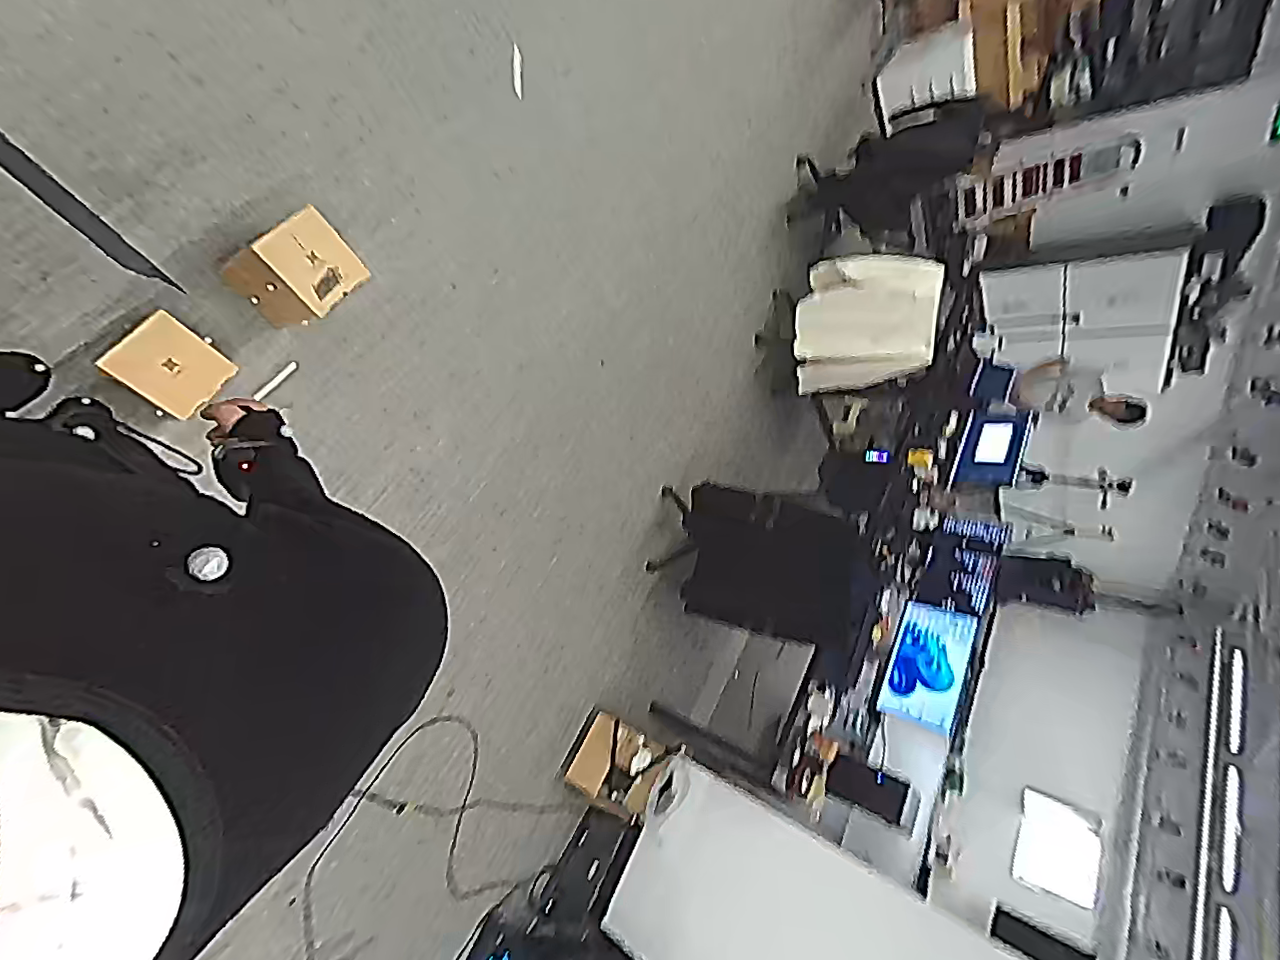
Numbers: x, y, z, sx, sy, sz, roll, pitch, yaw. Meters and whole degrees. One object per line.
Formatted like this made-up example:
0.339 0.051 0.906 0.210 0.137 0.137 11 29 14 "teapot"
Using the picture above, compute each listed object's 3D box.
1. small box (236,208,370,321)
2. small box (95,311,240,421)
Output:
-0.767 -0.480 1.231 0.168 0.176 0.179 -57 132 -26 "small box"
-1.053 -0.246 1.202 0.179 0.176 0.168 51 60 -40 "small box"
